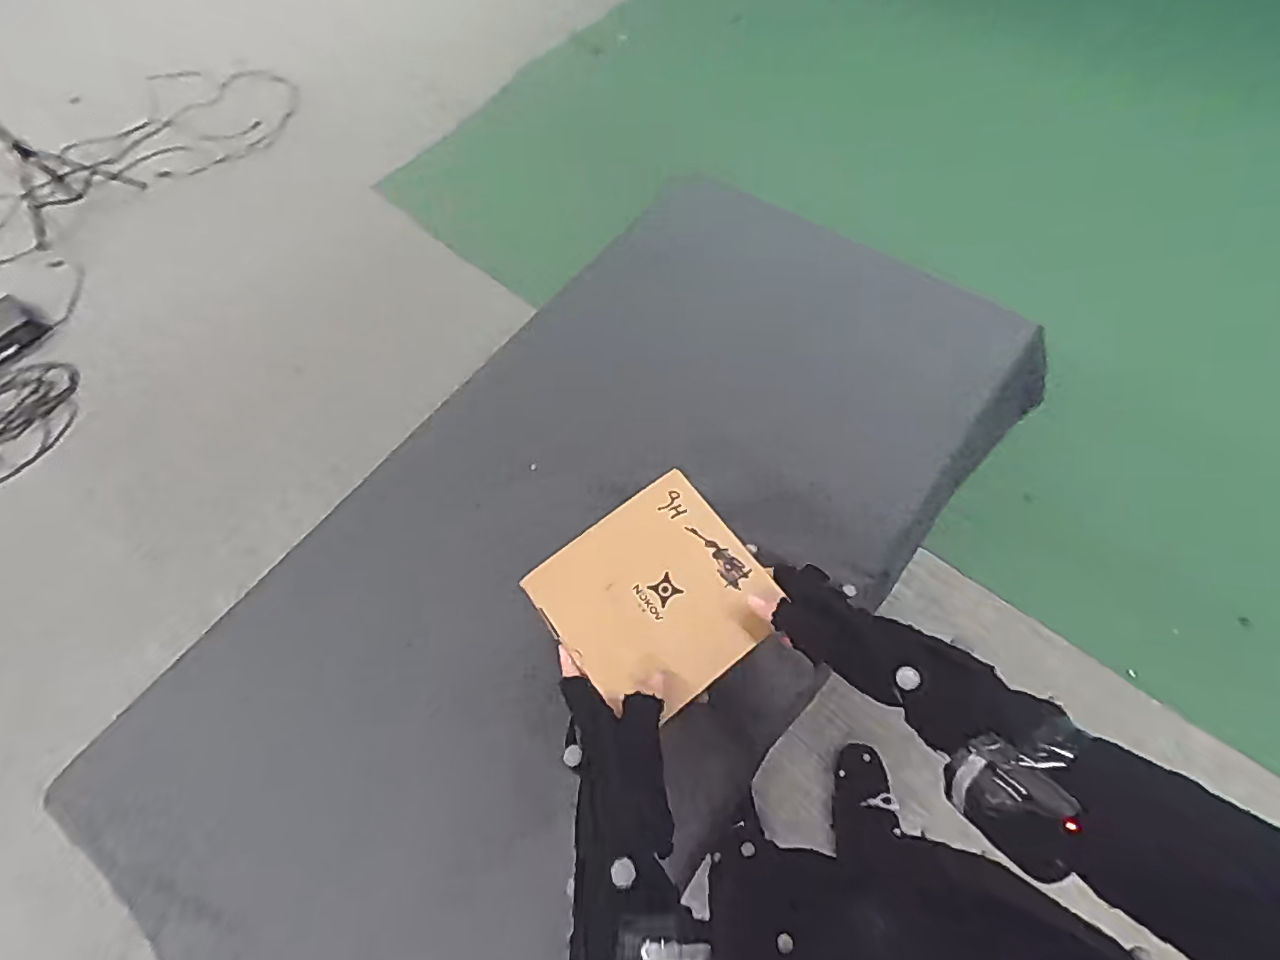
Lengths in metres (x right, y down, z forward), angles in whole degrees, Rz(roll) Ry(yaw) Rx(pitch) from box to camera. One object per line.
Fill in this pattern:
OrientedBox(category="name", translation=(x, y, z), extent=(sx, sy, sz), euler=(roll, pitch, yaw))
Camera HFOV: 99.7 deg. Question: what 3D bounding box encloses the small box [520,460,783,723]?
OrientedBox(category="small box", translation=(0.013, 0.118, 0.543), extent=(0.179, 0.176, 0.168), euler=(-37, 72, -12))
